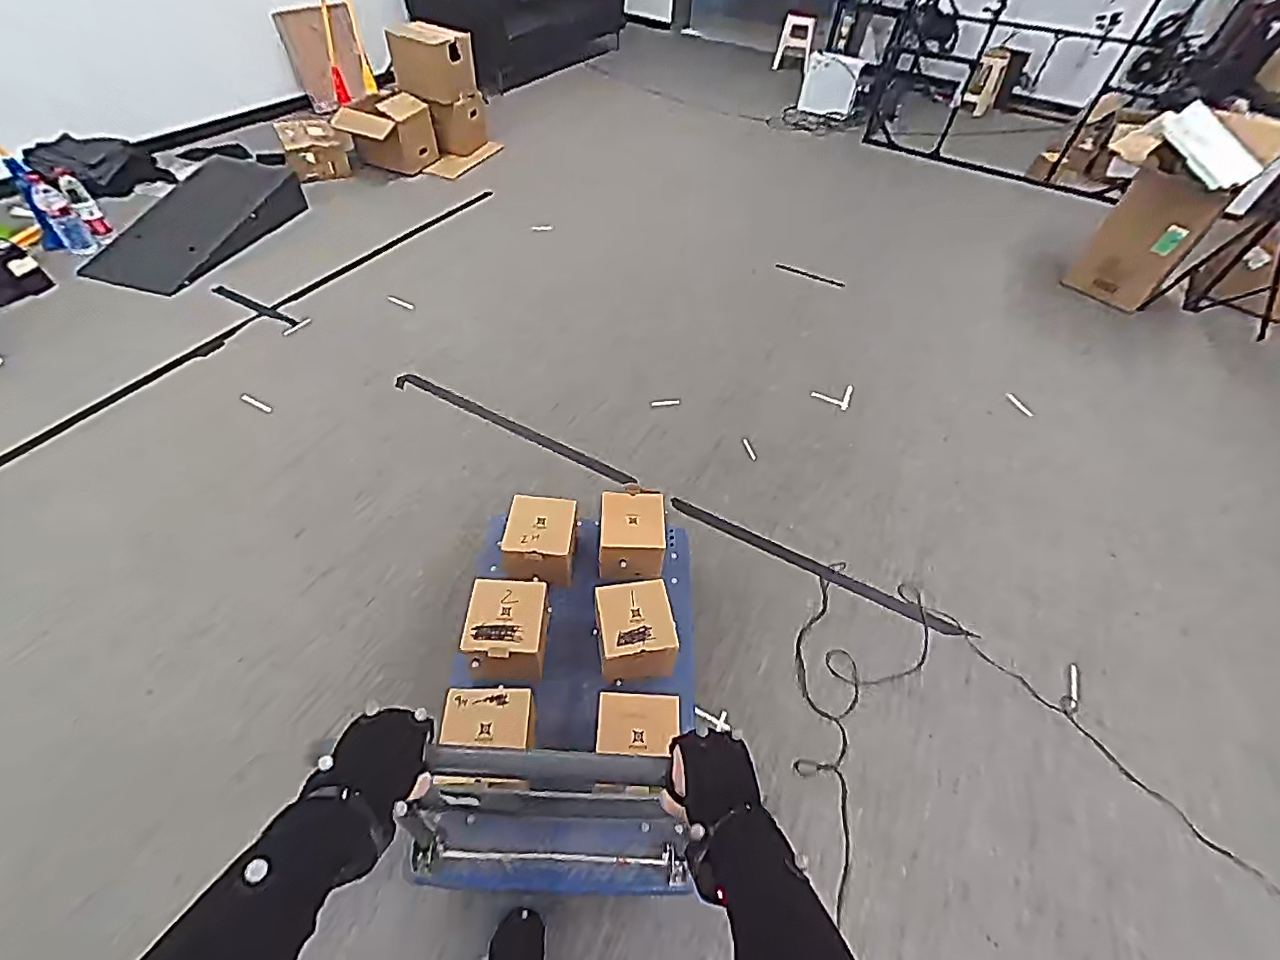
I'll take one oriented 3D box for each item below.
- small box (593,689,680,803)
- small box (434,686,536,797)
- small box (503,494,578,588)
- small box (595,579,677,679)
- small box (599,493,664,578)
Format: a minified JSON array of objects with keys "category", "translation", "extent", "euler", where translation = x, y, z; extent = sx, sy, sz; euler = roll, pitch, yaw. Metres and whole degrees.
[{"category":"small box","translation":[-0.009,0.558,1.125],"extent":[0.168,0.176,0.179],"euler":[5,48,-3]},{"category":"small box","translation":[-0.306,0.538,1.105],"extent":[0.168,0.176,0.179],"euler":[2,50,-6]},{"category":"small box","translation":[-0.257,0.163,1.431],"extent":[0.168,0.176,0.179],"euler":[6,50,-2]},{"category":"small box","translation":[-0.016,0.361,1.292],"extent":[0.168,0.176,0.179],"euler":[-5,49,-11]},{"category":"small box","translation":[-0.025,0.154,1.469],"extent":[0.168,0.176,0.179],"euler":[2,49,-5]}]
